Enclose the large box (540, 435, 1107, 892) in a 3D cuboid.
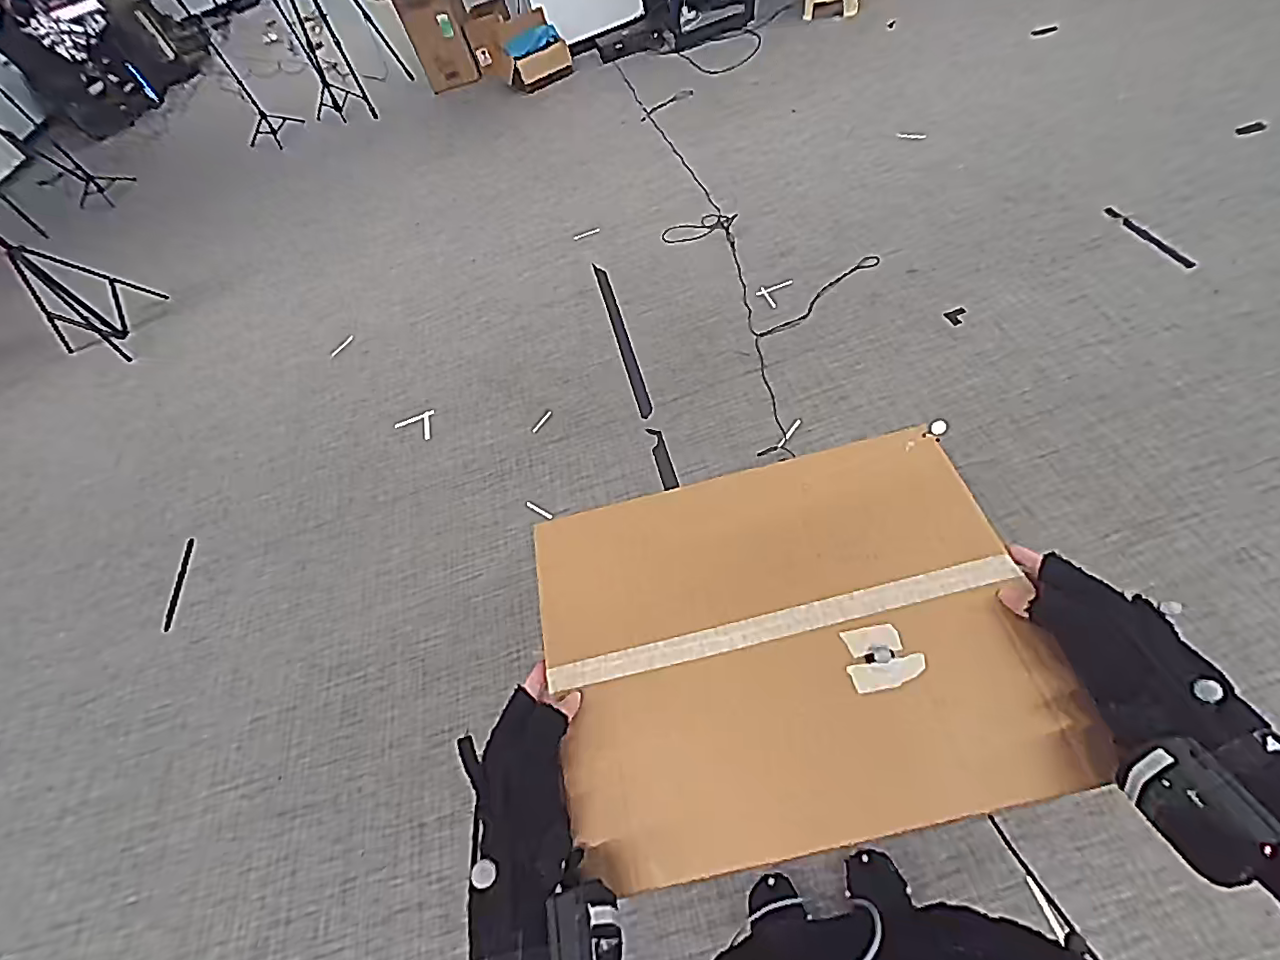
[{"bbox_3d":[0.139,0.206,0.596,0.408,0.320,0.320,-14,57,1],"label":"large box"}]
